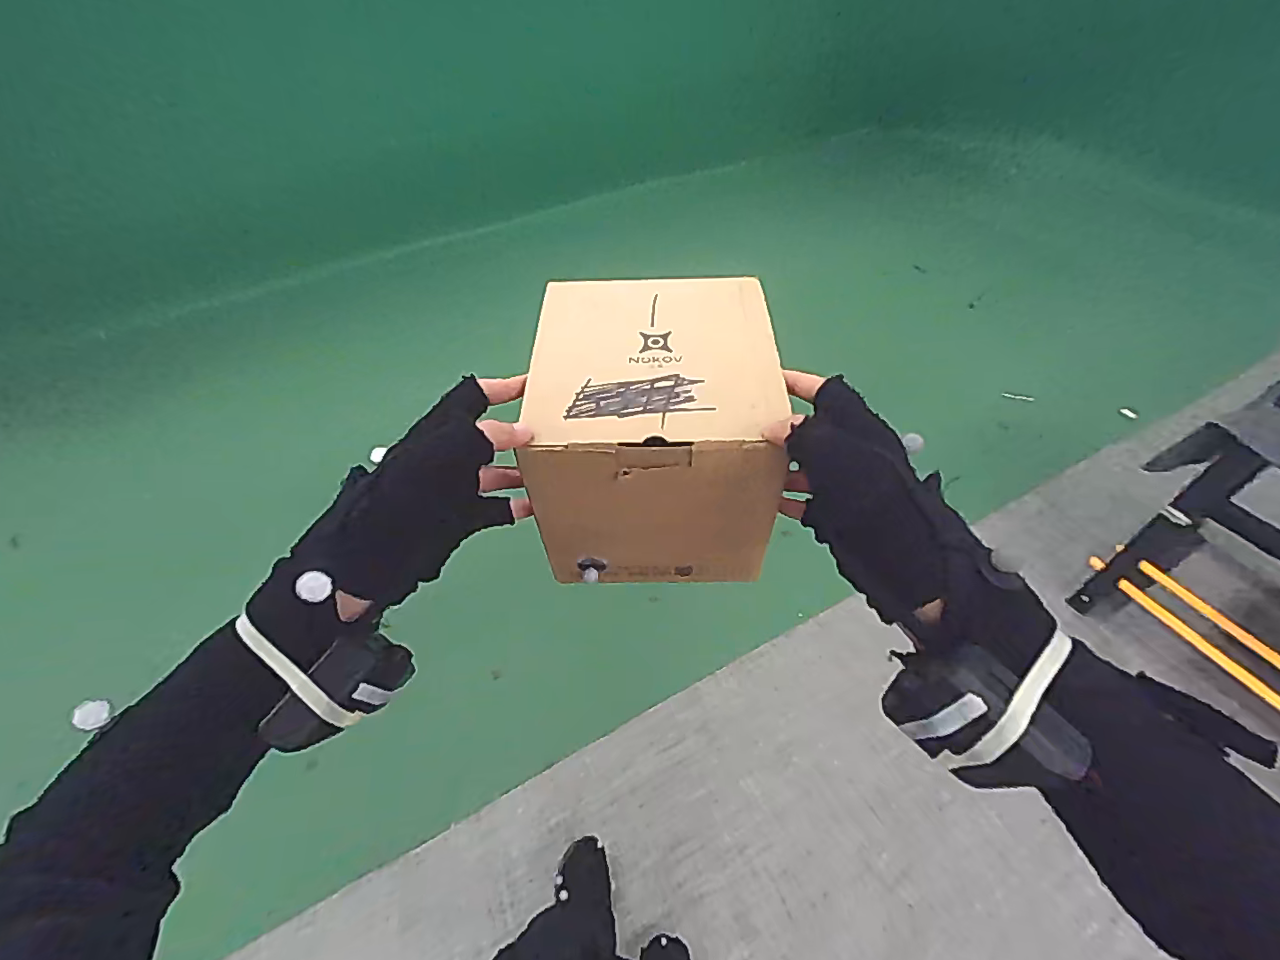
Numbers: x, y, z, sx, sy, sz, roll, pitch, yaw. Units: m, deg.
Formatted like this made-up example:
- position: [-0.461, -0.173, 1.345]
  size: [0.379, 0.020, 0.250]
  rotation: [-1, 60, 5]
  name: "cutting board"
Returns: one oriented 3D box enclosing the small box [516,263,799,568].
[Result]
- position: [0.015, -0.043, 0.419]
  size: [0.168, 0.176, 0.179]
  rotation: [-1, 51, 2]
  name: "small box"
